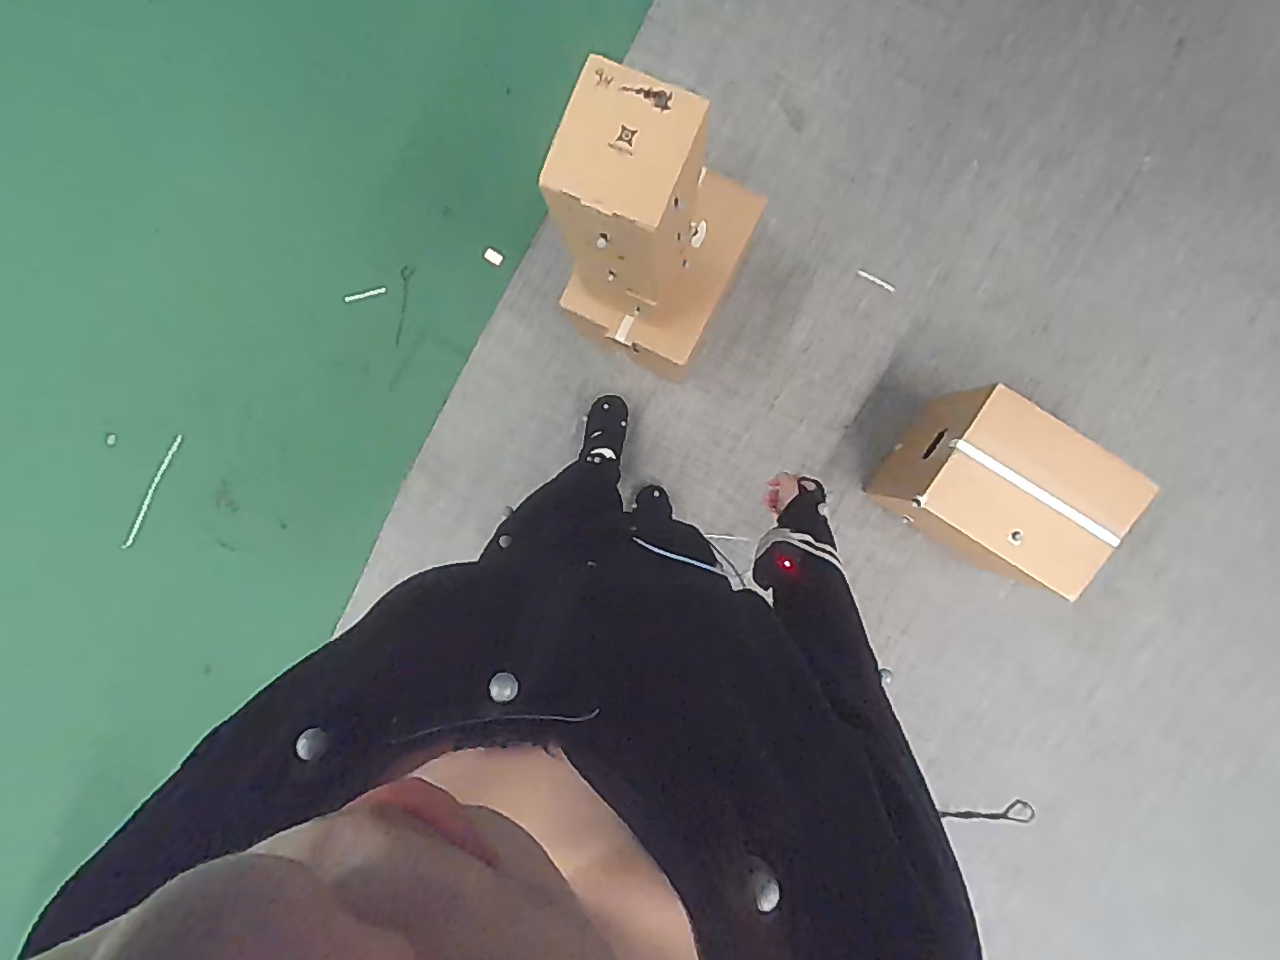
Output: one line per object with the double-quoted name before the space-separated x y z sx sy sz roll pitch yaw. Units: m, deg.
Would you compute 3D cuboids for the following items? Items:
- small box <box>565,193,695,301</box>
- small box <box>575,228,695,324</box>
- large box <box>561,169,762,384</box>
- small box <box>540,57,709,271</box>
"small box" -0.009 -0.431 0.922 0.168 0.176 0.179 22 92 1
"small box" -0.006 -0.432 1.086 0.179 0.176 0.168 26 93 2
"large box" 0.052 -0.497 1.325 0.320 0.320 0.408 27 92 1
"small box" -0.015 -0.422 0.758 0.168 0.176 0.179 24 93 1
